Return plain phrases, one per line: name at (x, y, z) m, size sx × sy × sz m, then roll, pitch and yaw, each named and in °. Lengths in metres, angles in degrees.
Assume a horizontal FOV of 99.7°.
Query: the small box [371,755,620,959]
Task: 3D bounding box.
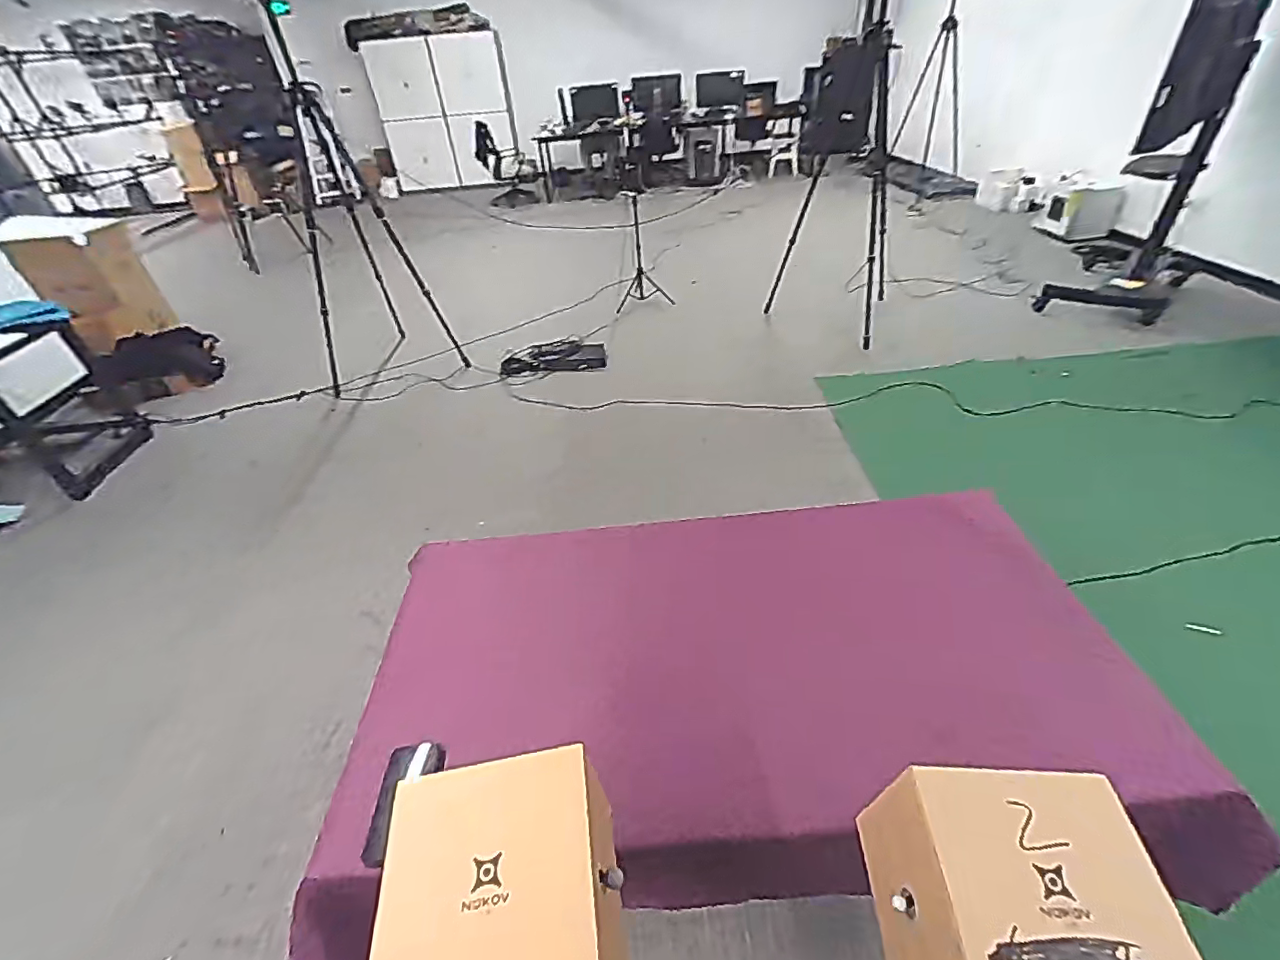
small box at (-0.111, 0.374, 0.469) m, size 0.168 × 0.176 × 0.179 m, roll -10°, pitch 43°, yaw -3°
